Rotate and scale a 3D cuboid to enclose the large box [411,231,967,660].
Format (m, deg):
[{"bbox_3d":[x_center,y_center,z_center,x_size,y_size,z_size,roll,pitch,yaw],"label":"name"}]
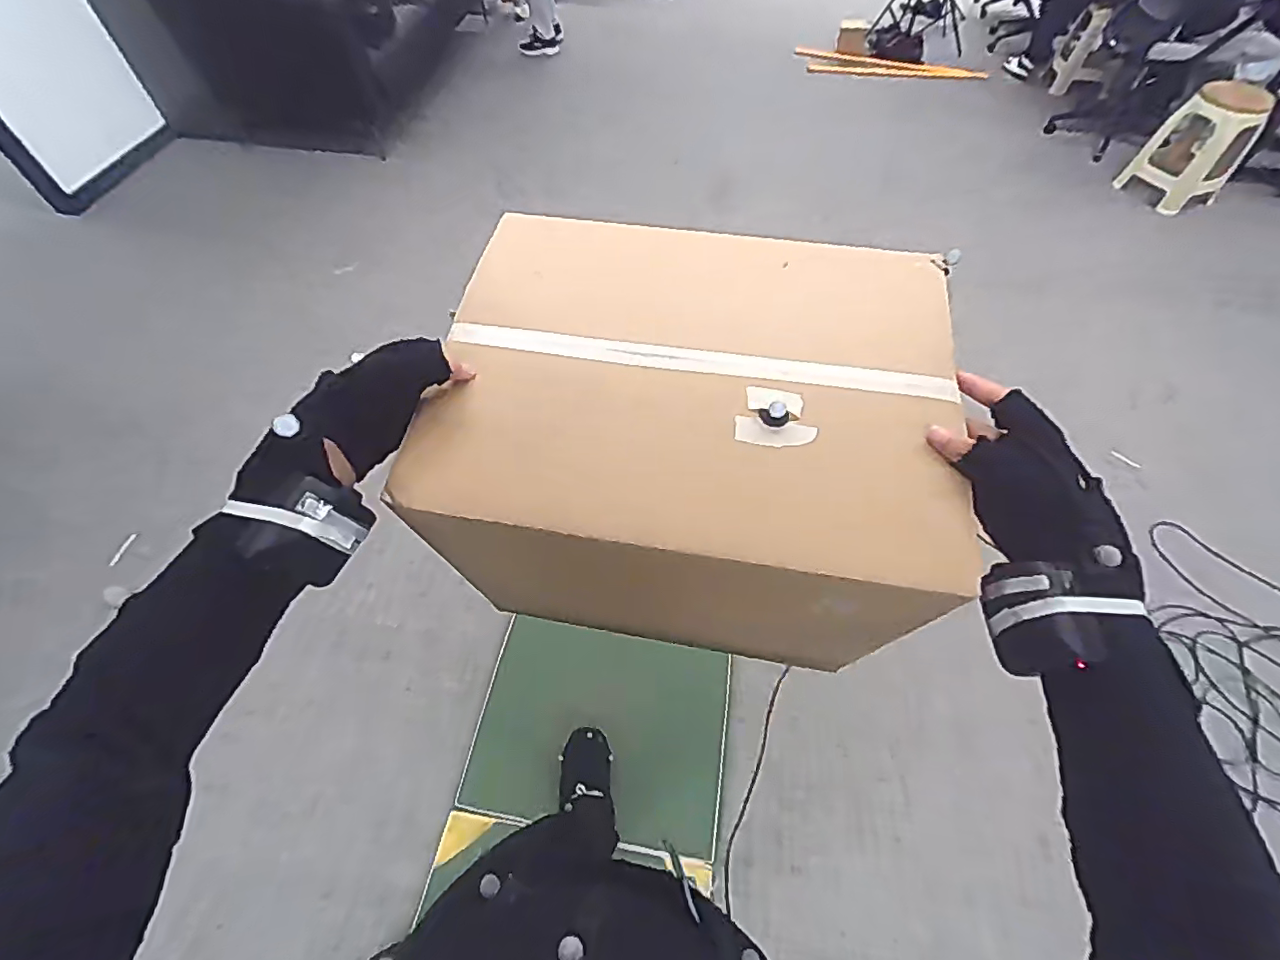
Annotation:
[{"bbox_3d":[0.049,-0.019,0.578,0.408,0.320,0.320,8,63,5],"label":"large box"}]
